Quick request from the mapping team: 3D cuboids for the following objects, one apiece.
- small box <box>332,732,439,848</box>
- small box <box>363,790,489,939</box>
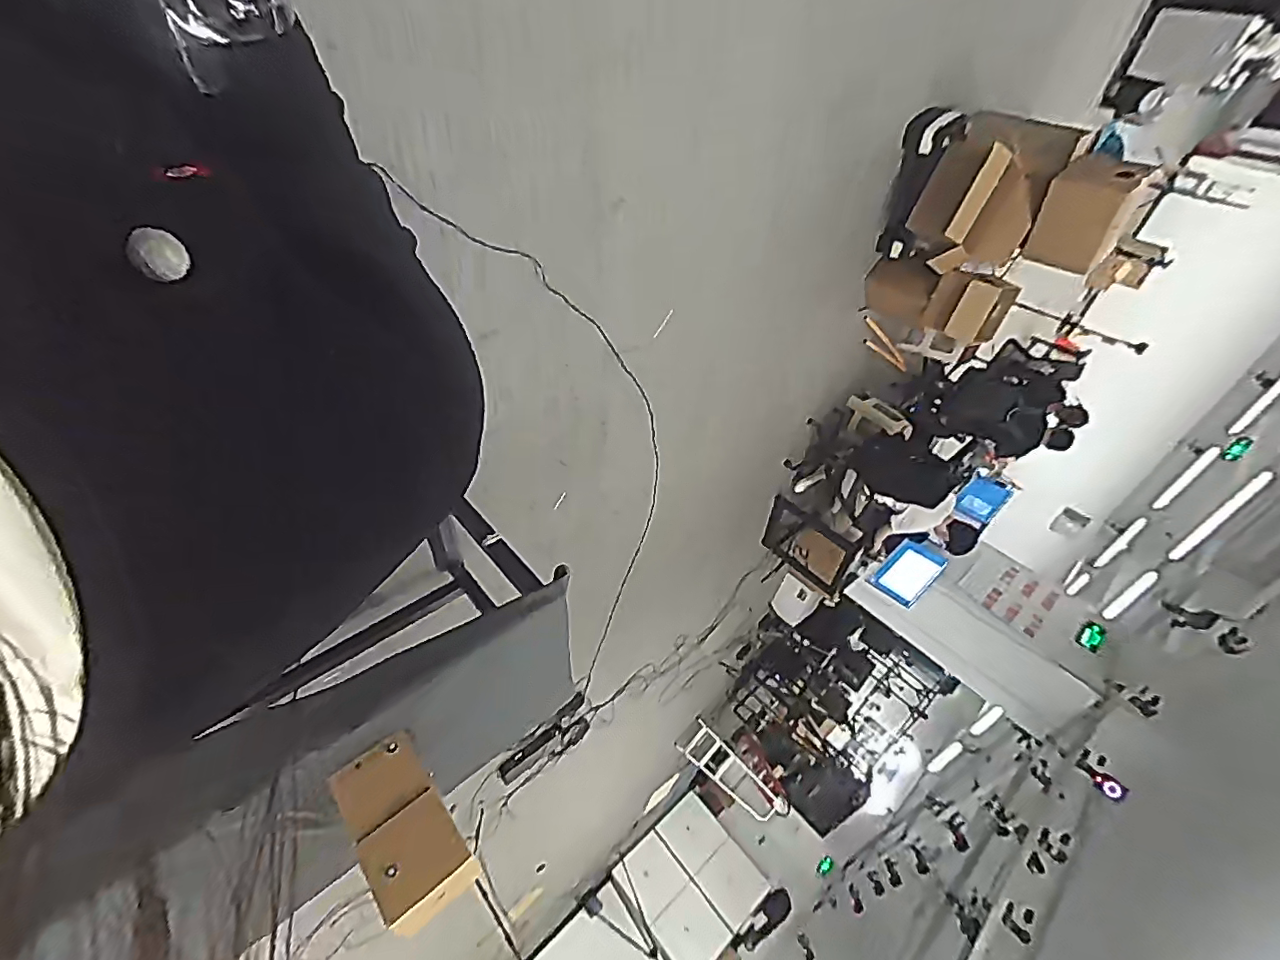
[{"bbox_3d":[-0.564,0.707,1.220,0.168,0.176,0.179,-29,144,-32],"label":"small box"},{"bbox_3d":[-0.444,0.789,1.115,0.179,0.176,0.168,-32,145,-27],"label":"small box"}]
